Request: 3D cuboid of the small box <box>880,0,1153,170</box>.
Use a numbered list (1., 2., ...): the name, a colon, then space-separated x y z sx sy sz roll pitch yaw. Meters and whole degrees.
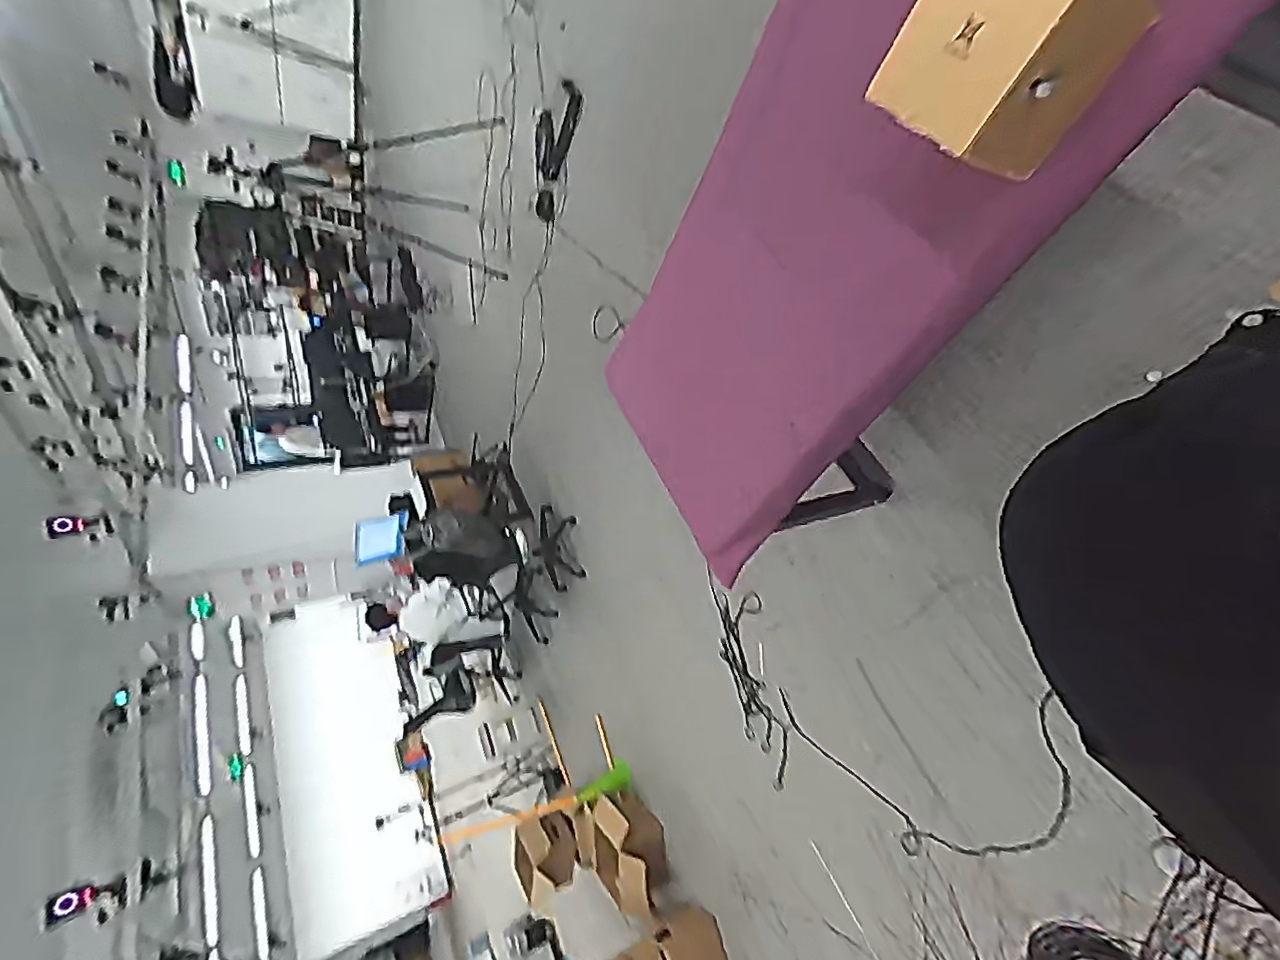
1. small box: 0.430 -0.490 0.623 0.168 0.176 0.179 59 144 29
